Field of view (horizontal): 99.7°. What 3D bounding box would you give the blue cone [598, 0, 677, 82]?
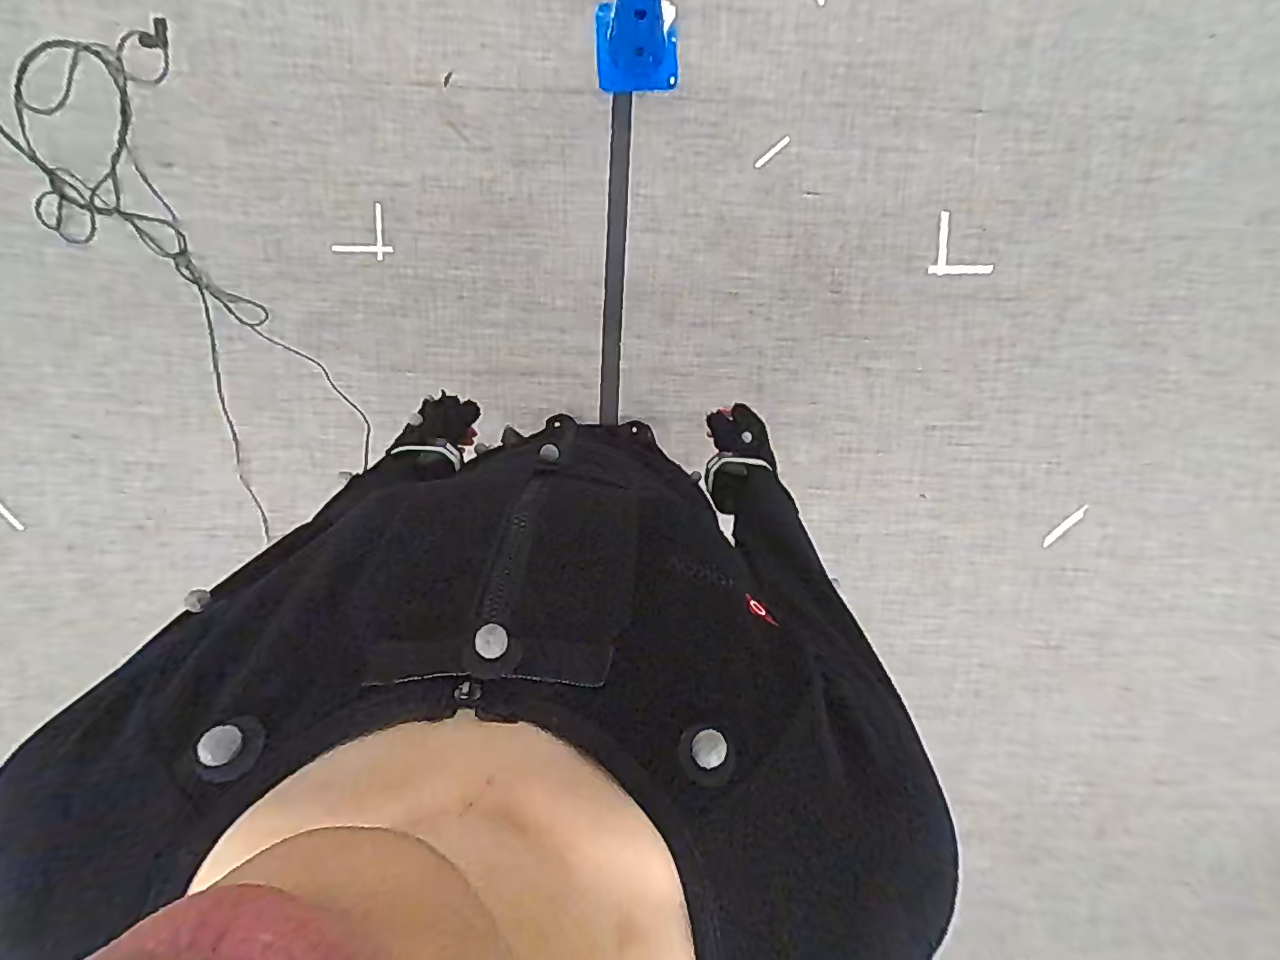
[{"bbox_3d":[0.004,-1.053,1.158,0.192,0.380,0.193,-2,99,-3],"label":"blue cone"}]
